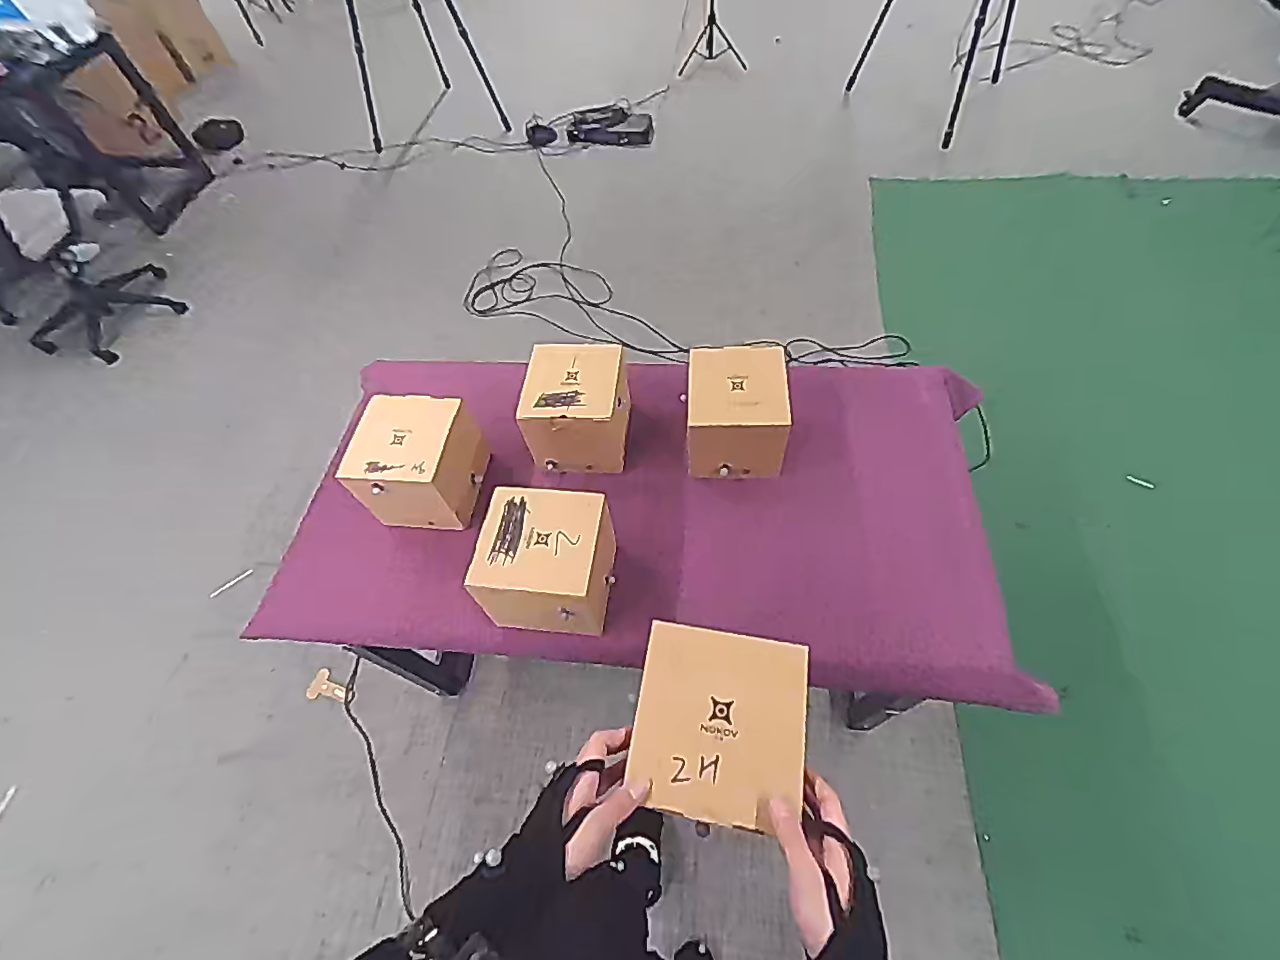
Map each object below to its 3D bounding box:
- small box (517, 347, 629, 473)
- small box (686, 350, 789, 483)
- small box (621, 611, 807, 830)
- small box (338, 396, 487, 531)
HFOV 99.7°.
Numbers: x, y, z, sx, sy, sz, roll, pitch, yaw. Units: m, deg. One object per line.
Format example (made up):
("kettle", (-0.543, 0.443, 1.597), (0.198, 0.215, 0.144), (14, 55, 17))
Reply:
("small box", (-0.113, -0.127, 1.010), (0.168, 0.176, 0.179), (2, 57, 6))
("small box", (0.169, -0.113, 0.977), (0.168, 0.176, 0.179), (1, 58, 7))
("small box", (0.083, 0.269, 0.603), (0.168, 0.176, 0.179), (8, 60, 10))
("small box", (-0.390, -0.029, 0.968), (0.168, 0.176, 0.179), (3, 57, 8))
